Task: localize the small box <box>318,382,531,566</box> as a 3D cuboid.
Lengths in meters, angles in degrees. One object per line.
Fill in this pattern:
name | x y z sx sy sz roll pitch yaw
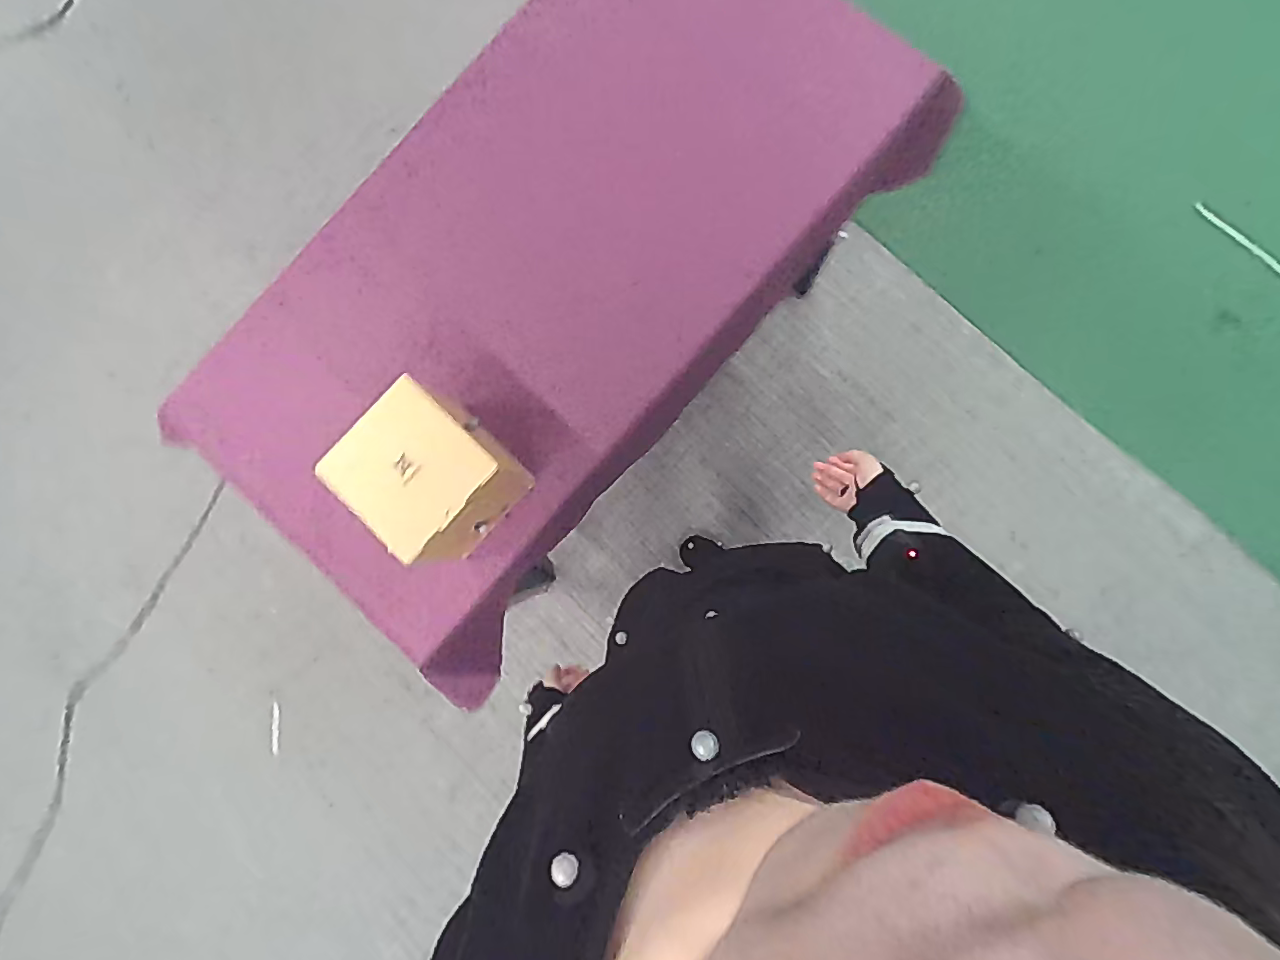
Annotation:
small box | -0.280 0.000 0.742 0.179 0.176 0.168 42 89 6
